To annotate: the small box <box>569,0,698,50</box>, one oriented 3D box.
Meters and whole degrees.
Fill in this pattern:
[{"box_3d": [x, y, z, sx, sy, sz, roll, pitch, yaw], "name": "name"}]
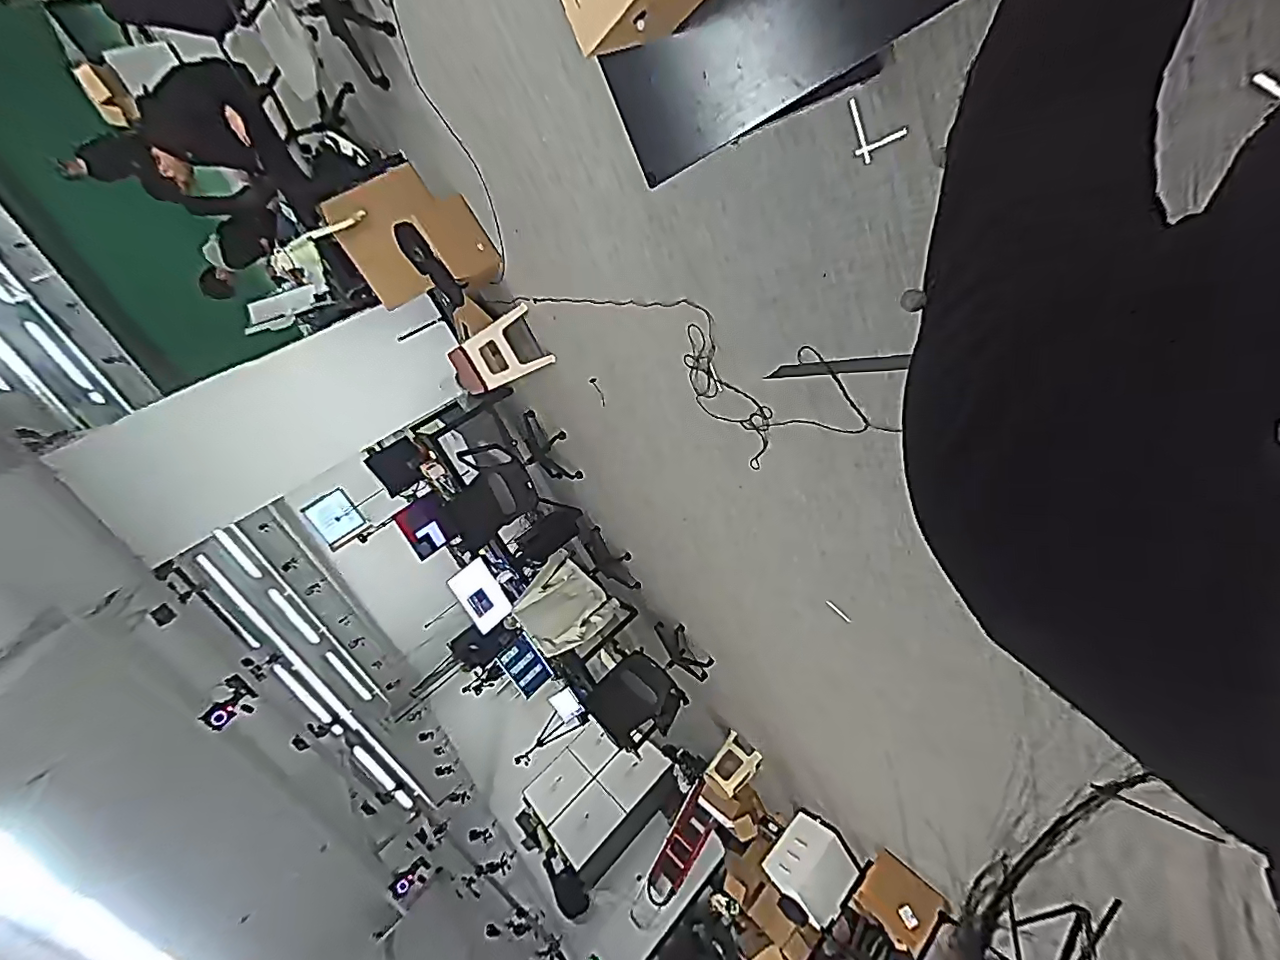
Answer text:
[{"box_3d": [0.003, -0.693, 0.680, 0.179, 0.176, 0.168, 5, 128, 55], "name": "small box"}]
